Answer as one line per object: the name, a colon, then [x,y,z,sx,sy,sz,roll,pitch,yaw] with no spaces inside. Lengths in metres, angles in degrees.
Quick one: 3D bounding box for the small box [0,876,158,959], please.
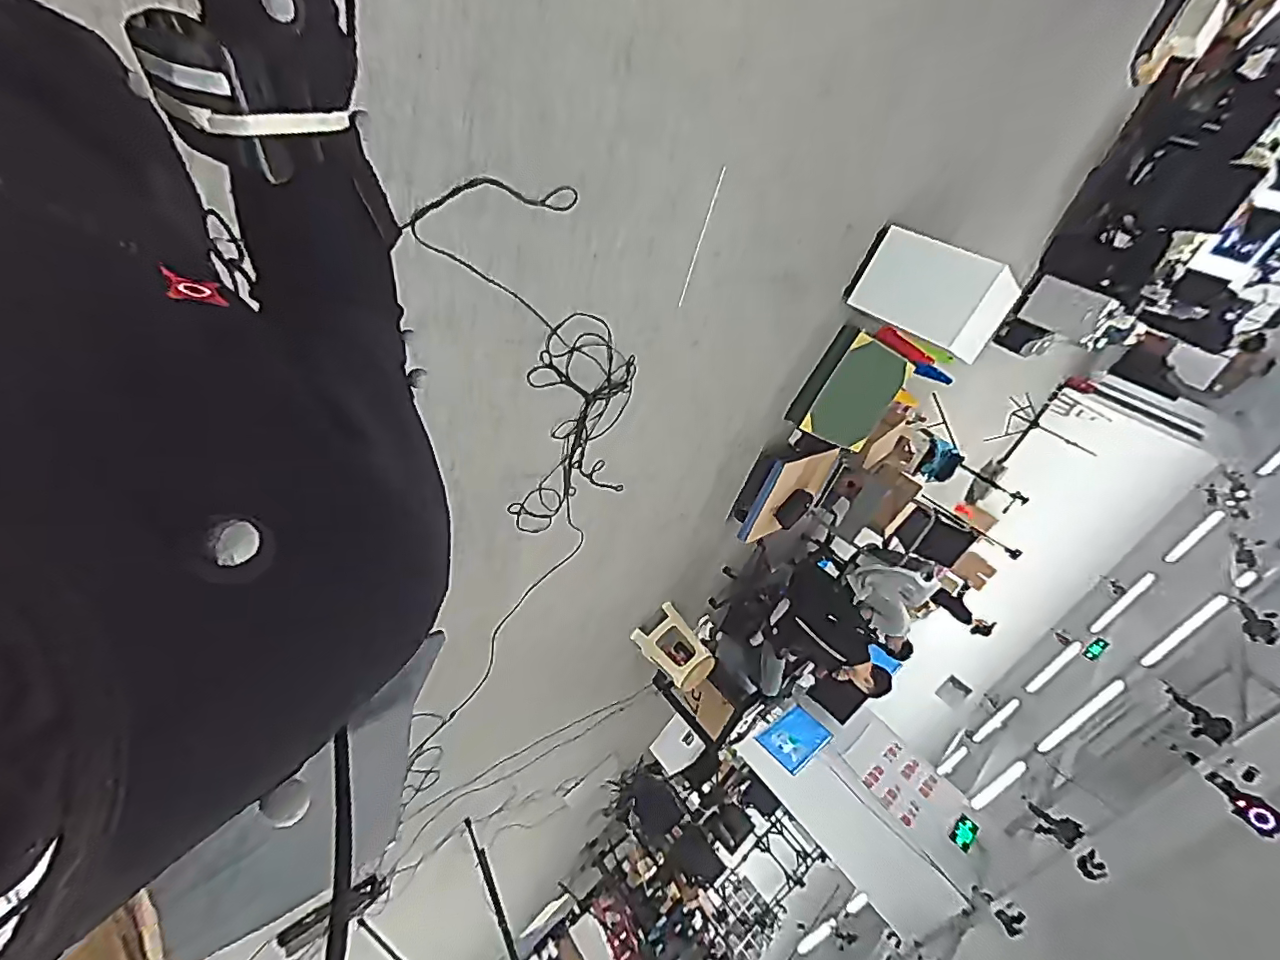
small box: [-0.845,0.751,0.813,0.168,0.176,0.179,-14,134,-43]
